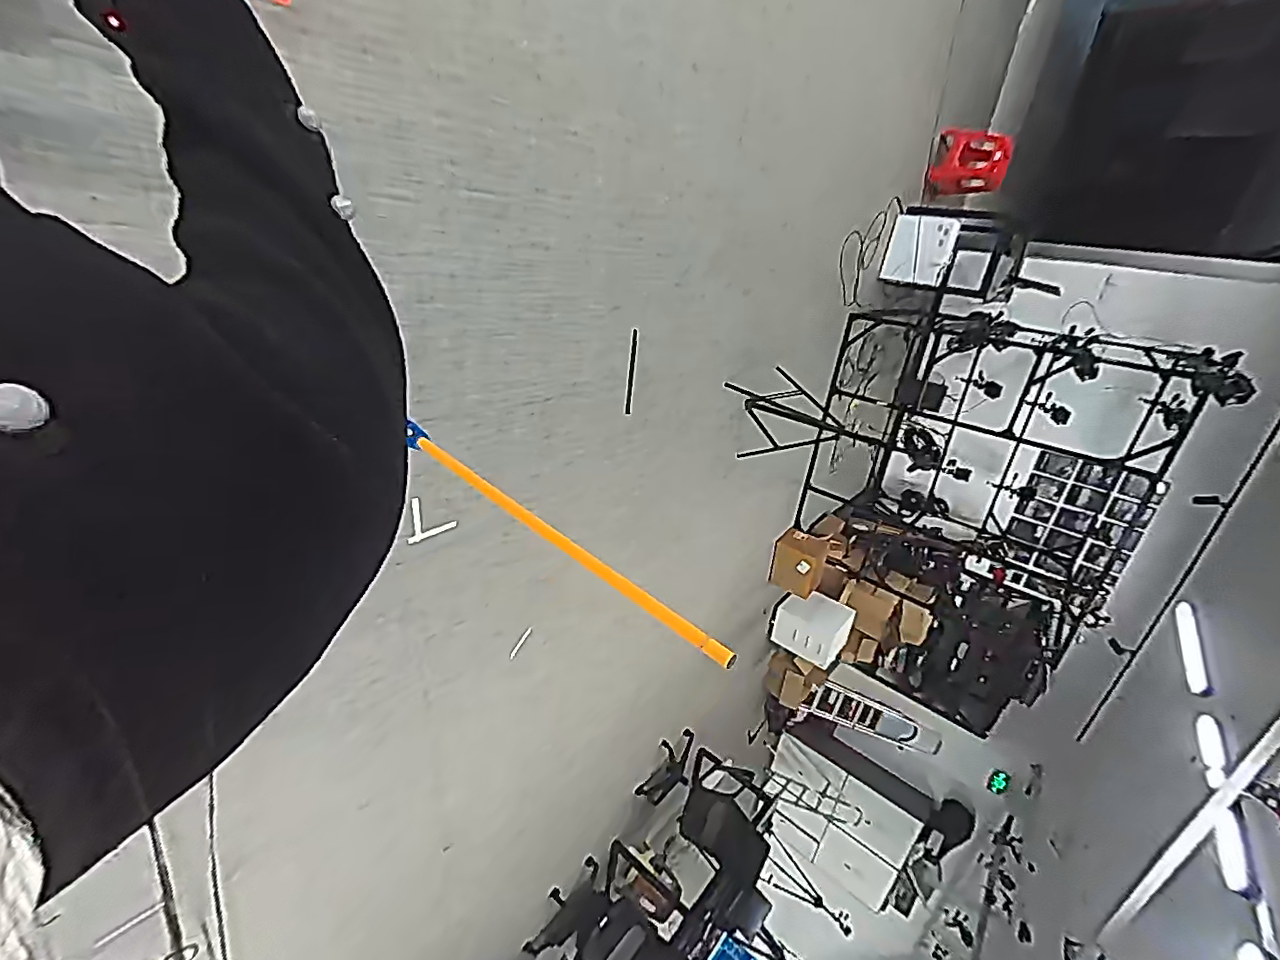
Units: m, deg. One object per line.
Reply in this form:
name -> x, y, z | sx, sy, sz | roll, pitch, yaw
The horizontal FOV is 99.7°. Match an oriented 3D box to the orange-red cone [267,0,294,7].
orange-red cone -> -0.591, -0.938, 0.866 | 0.199, 0.360, 0.198 | -13, 121, -52
